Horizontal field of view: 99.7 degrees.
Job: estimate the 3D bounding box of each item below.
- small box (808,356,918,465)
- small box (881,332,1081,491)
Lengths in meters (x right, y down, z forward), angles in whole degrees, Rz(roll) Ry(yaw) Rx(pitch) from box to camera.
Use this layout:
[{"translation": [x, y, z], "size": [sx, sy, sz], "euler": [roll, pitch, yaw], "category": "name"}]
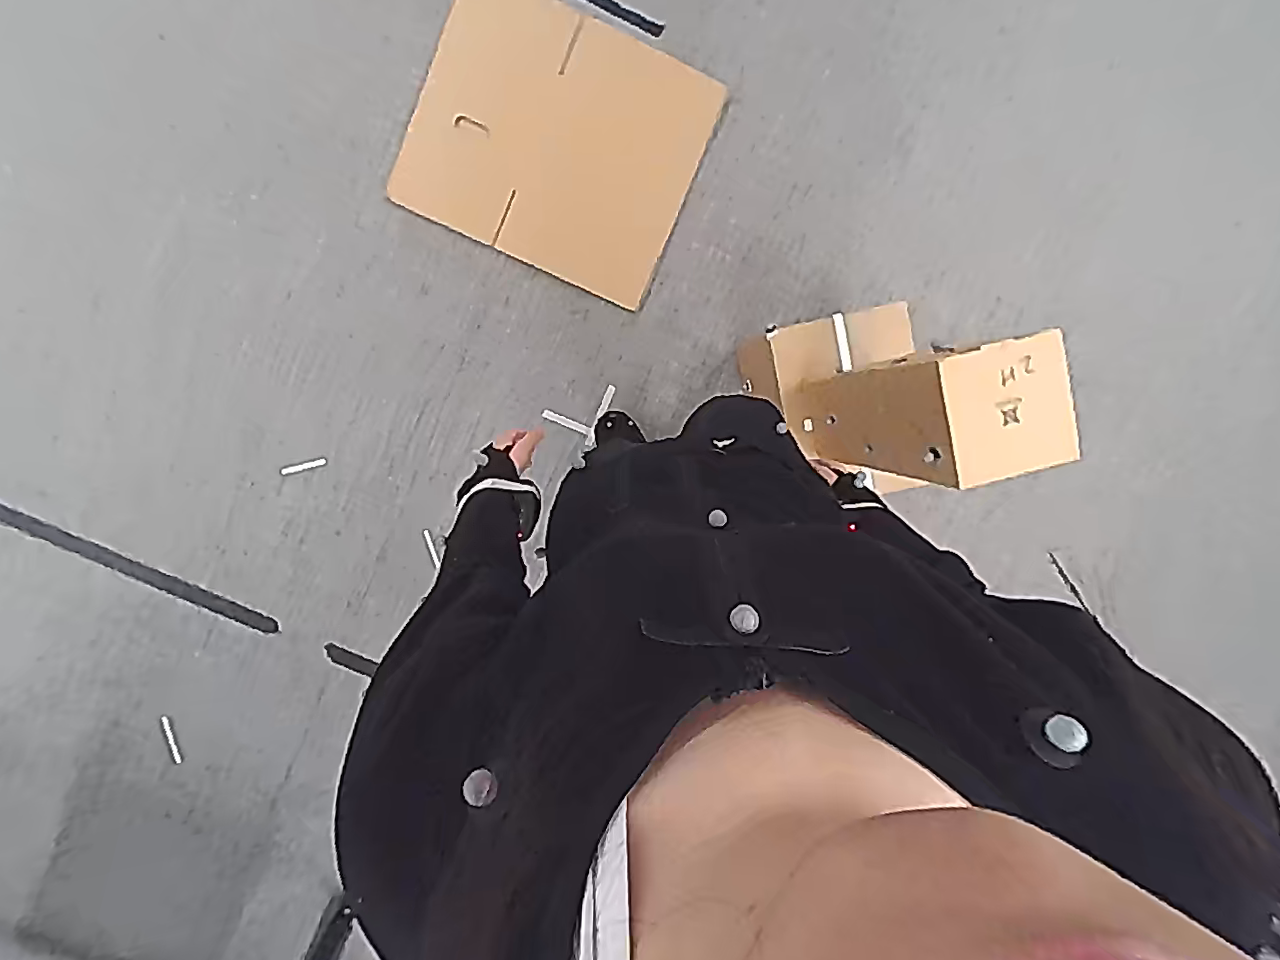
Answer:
[{"translation": [0.460, -0.139, 1.098], "size": [0.168, 0.176, 0.179], "euler": [-15, 98, 0], "category": "small box"}, {"translation": [0.472, -0.098, 0.771], "size": [0.168, 0.176, 0.179], "euler": [-15, 98, -1], "category": "small box"}]
